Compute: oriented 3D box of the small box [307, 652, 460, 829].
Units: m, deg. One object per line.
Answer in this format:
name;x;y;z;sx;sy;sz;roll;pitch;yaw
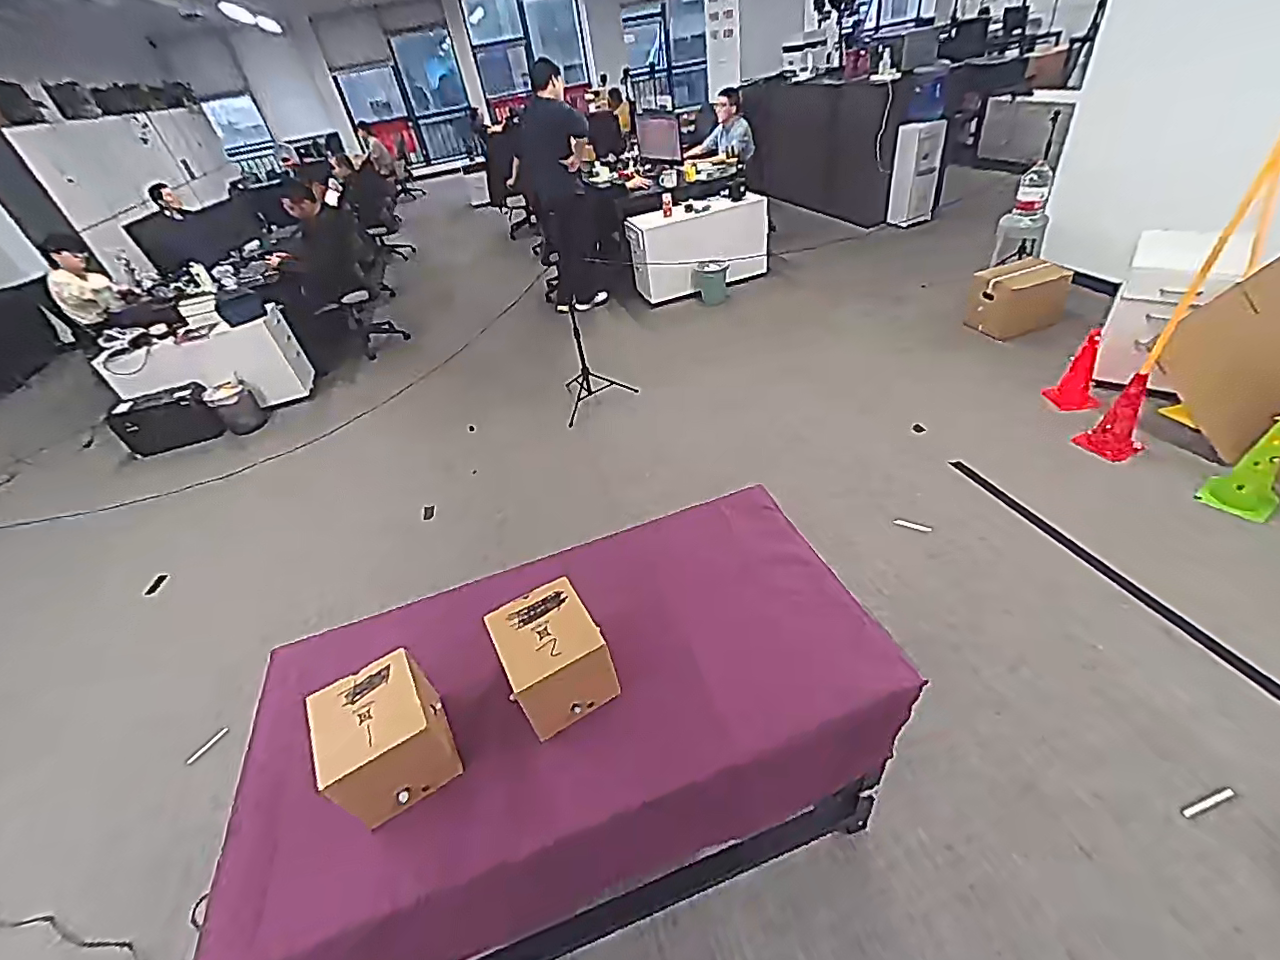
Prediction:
small box;-0.427;0.436;0.909;0.168;0.176;0.179;-27;42;-19
